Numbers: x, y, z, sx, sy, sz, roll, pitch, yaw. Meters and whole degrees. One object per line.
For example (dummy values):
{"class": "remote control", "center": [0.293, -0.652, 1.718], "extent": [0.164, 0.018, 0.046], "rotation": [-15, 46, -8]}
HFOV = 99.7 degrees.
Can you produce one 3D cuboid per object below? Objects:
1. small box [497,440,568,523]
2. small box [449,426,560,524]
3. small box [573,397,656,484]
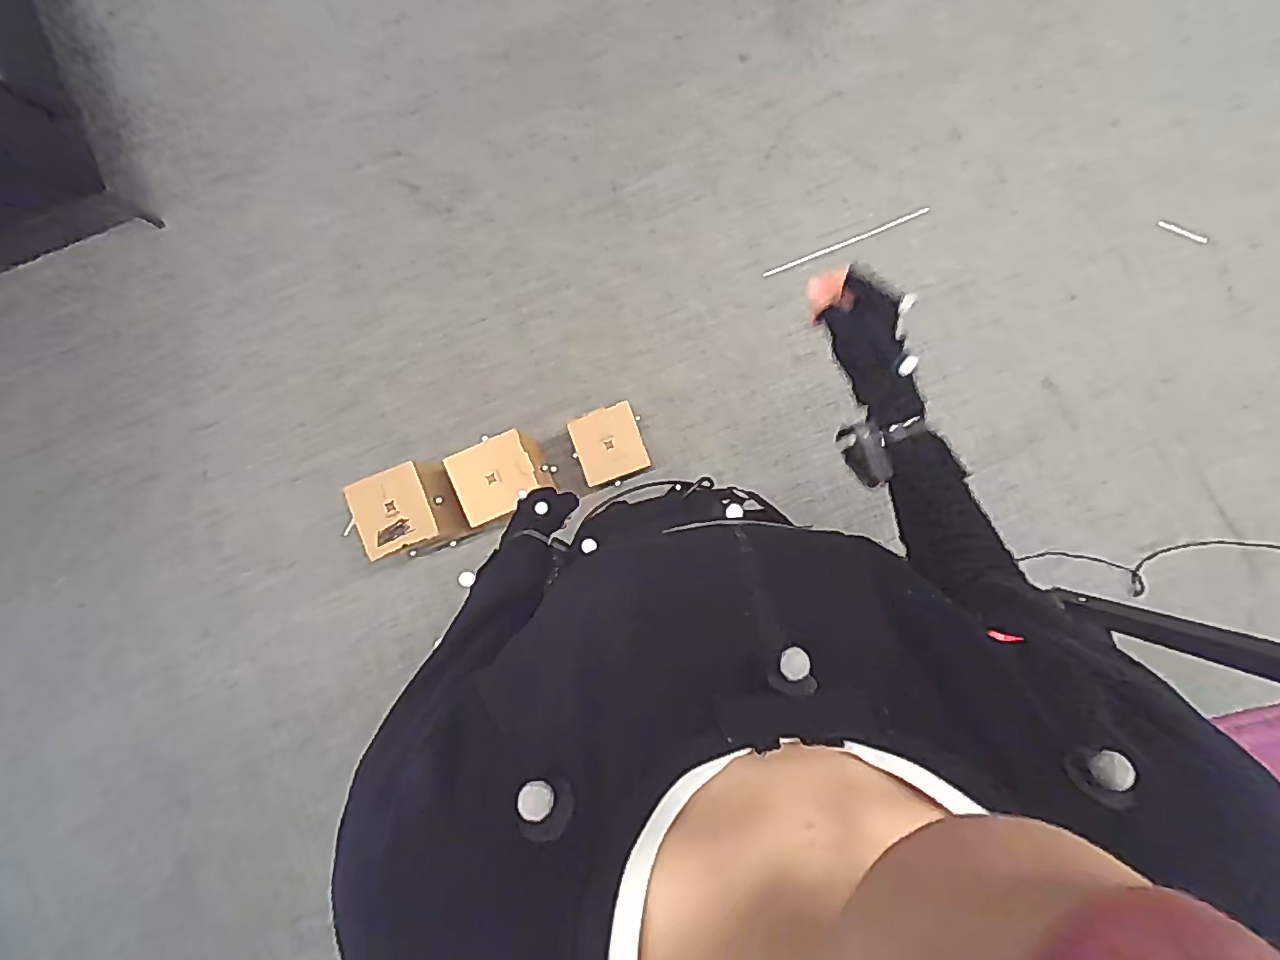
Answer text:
{"class": "small box", "center": [-0.302, 0.000, 1.406], "extent": [0.168, 0.176, 0.179], "rotation": [-23, 88, 2]}
{"class": "small box", "center": [-0.303, -0.009, 1.244], "extent": [0.179, 0.176, 0.168], "rotation": [-24, 89, 0]}
{"class": "small box", "center": [-0.063, -0.095, 1.405], "extent": [0.168, 0.176, 0.179], "rotation": [-20, 89, 1]}
